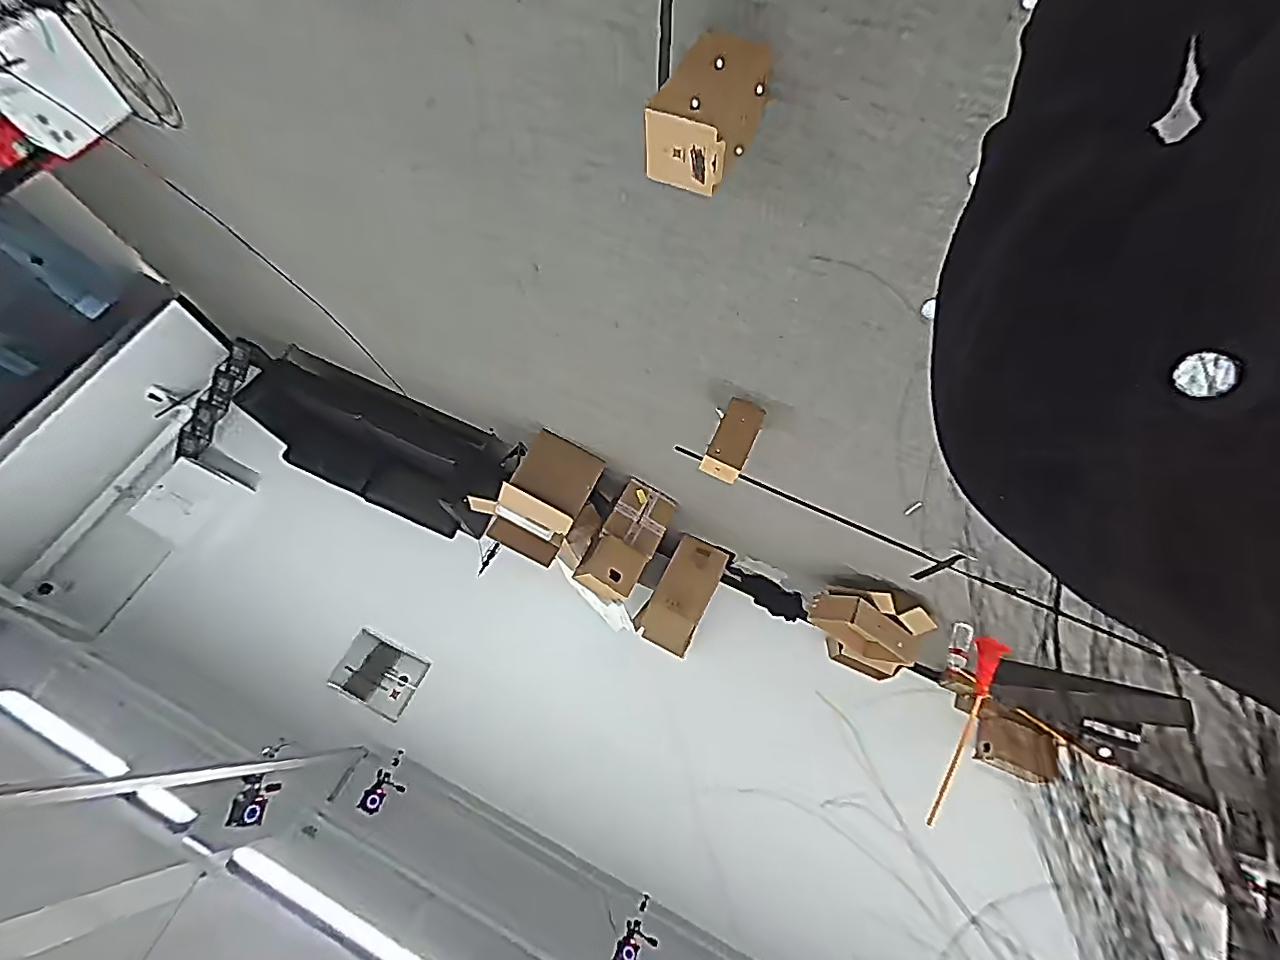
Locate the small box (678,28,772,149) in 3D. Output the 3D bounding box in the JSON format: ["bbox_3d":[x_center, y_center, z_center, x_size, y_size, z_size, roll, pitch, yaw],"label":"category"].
[{"bbox_3d":[0.204,-0.948,1.308,0.179,0.176,0.168,24,158,14],"label":"small box"}]

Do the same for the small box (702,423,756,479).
[{"bbox_3d":[0.405,-0.138,2.463,0.179,0.176,0.168,25,160,5],"label":"small box"}]

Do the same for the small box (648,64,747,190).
[{"bbox_3d":[0.132,-0.814,1.244,0.179,0.176,0.168,23,158,13],"label":"small box"}]
